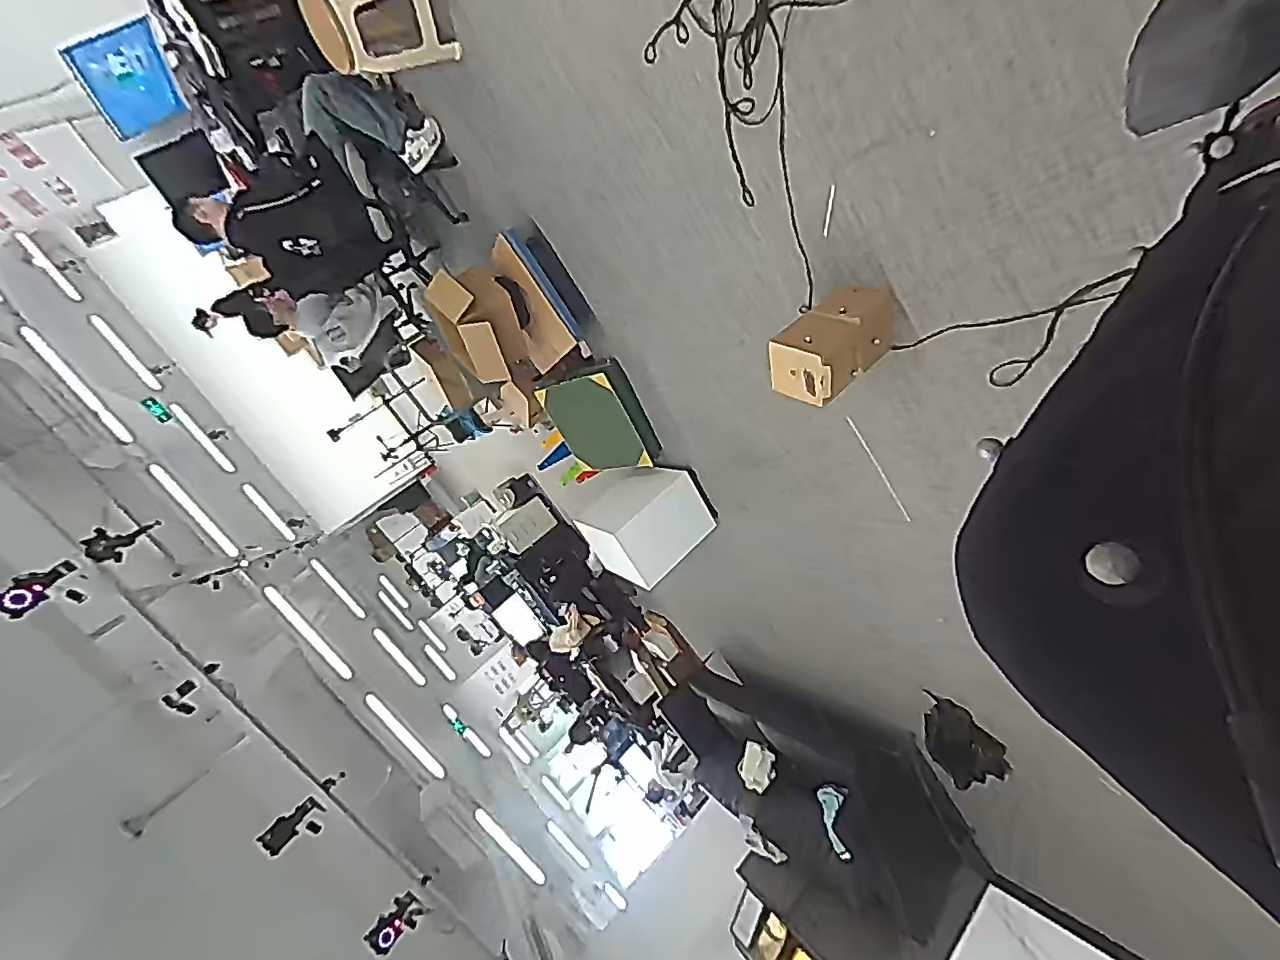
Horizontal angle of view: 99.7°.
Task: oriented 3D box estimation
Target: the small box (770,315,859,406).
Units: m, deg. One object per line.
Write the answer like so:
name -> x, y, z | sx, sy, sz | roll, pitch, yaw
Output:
small box -> 0.487, -0.337, 1.503 | 0.179, 0.176, 0.168 | 32, 151, 41

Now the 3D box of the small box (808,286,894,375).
small box -> 0.612, -0.433, 1.555 | 0.168, 0.176, 0.179 | 27, 148, 45
